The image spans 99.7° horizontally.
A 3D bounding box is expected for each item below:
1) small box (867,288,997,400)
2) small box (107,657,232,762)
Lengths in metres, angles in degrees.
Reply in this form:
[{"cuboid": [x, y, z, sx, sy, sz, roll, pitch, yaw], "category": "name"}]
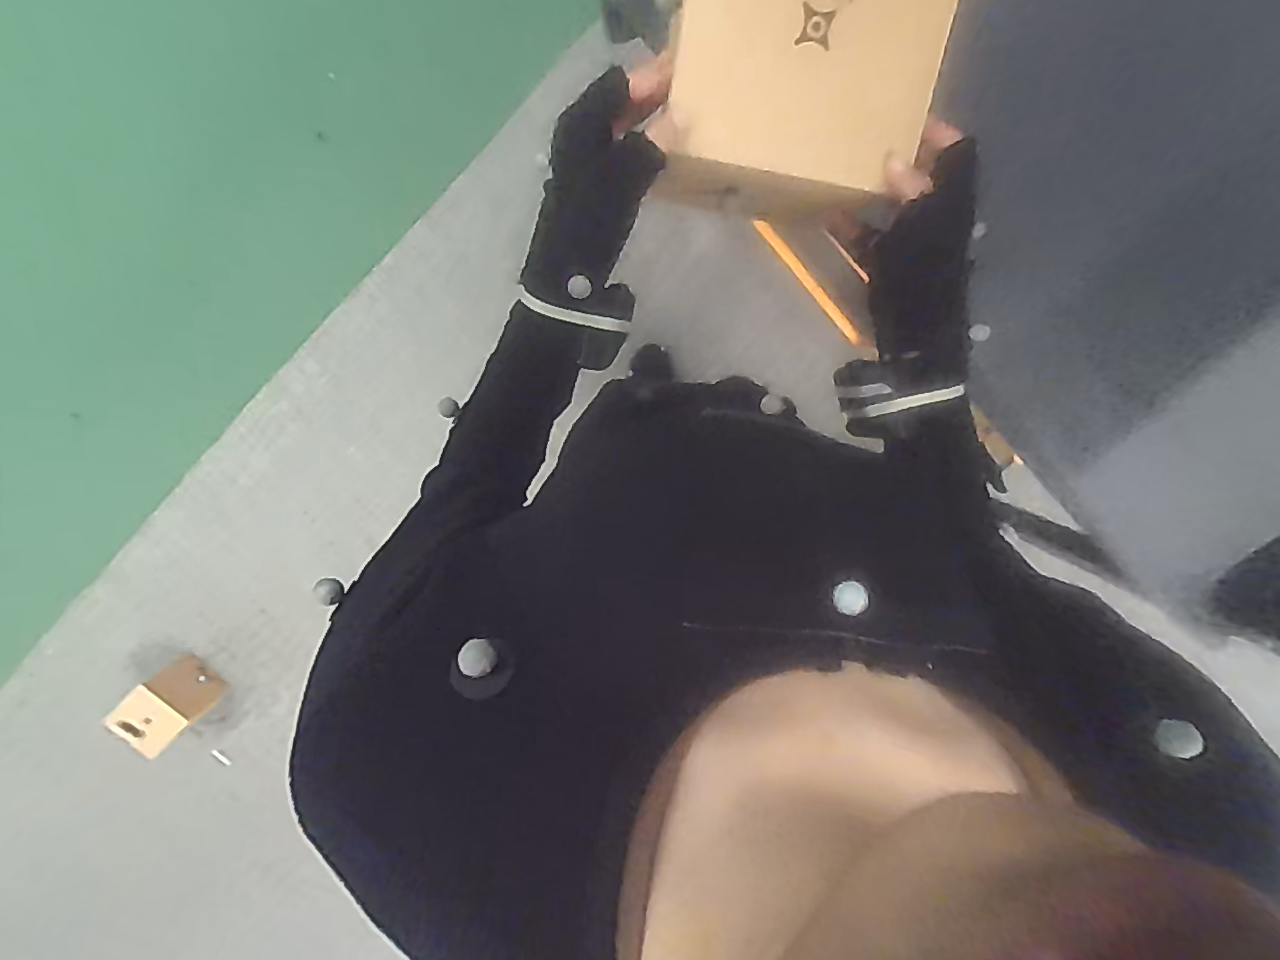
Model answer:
[{"cuboid": [0.646, -0.304, 1.228, 0.179, 0.176, 0.168, -44, 99, 10], "category": "small box"}, {"cuboid": [-1.325, 0.646, 1.538, 0.179, 0.176, 0.168, -43, 99, 7], "category": "small box"}]
